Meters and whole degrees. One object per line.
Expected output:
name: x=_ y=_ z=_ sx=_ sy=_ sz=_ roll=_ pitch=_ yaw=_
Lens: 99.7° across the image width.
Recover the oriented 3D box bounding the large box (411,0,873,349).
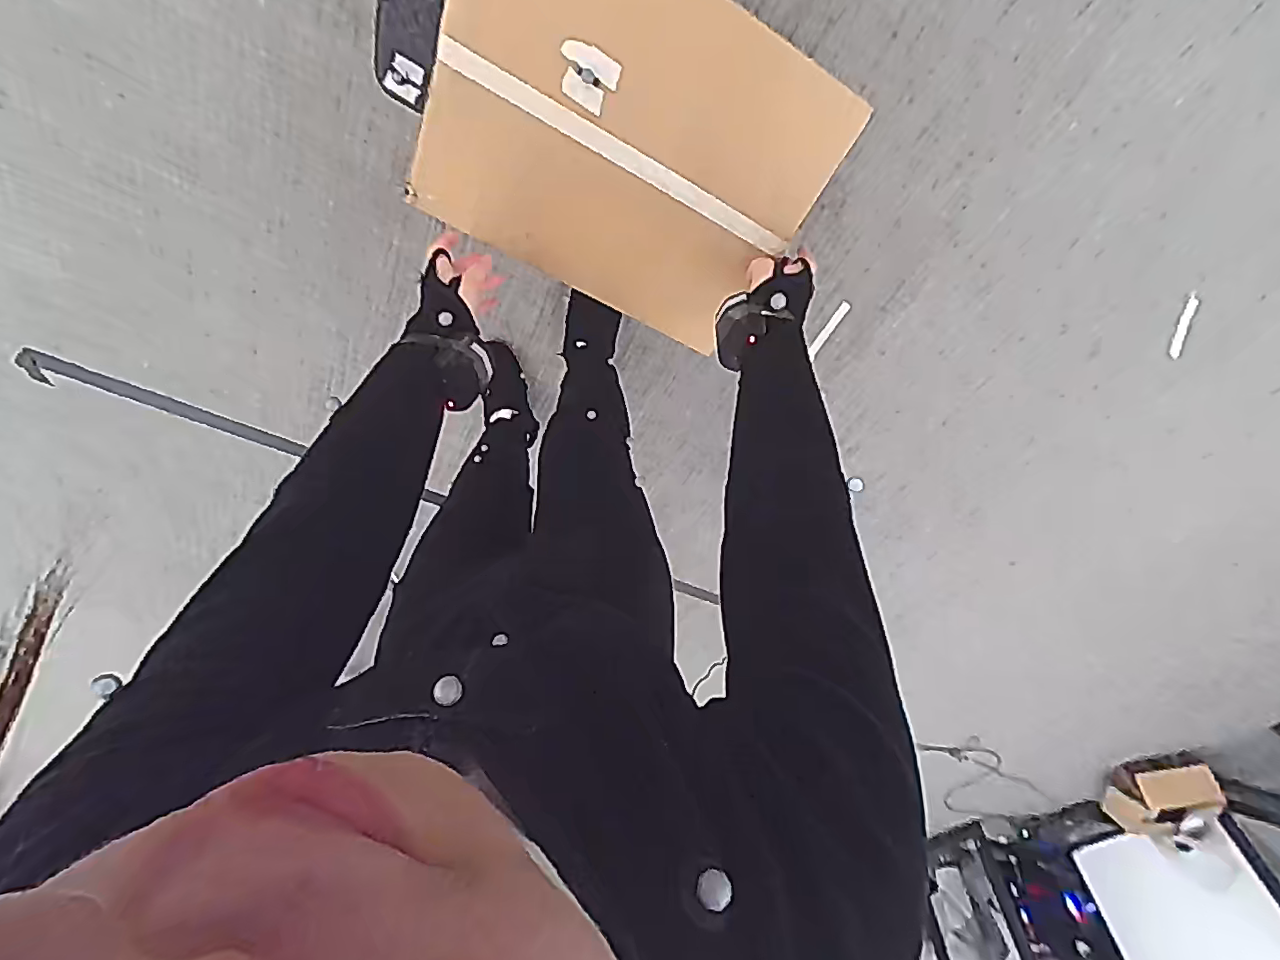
large box: x=-0.006 y=-0.437 z=0.680 sx=0.408 sy=0.320 sz=0.320 roll=23 pitch=126 yaw=-16
